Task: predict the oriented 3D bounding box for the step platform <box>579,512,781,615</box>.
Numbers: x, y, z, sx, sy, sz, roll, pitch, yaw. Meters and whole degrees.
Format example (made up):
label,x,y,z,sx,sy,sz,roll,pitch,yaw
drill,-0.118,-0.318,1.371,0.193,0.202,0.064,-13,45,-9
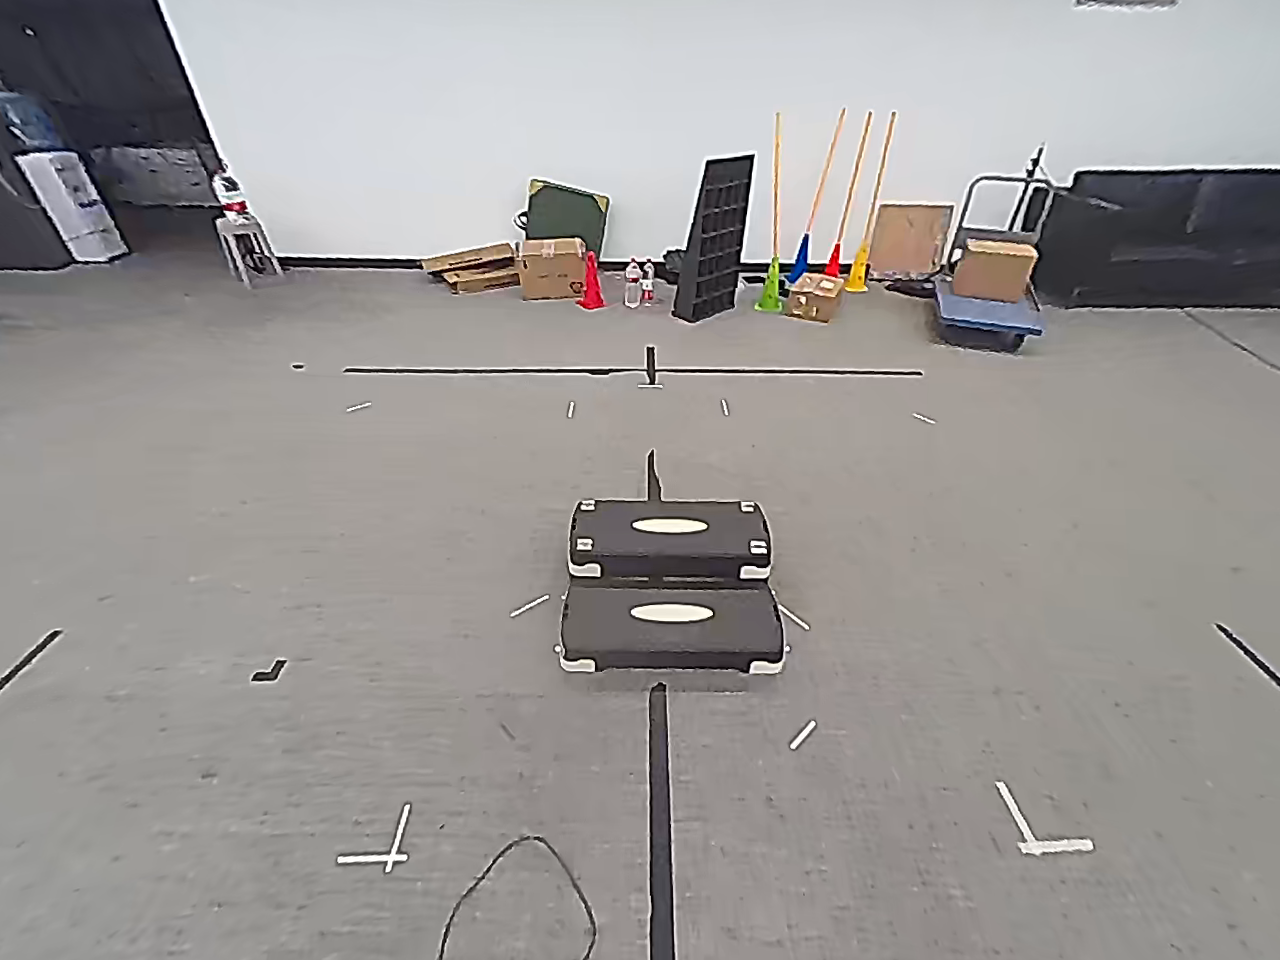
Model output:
label,x,y,z,sx,sy,sz,roll,pitch,yaw
step platform,0.135,0.278,1.869,0.684,0.204,0.286,3,36,3
